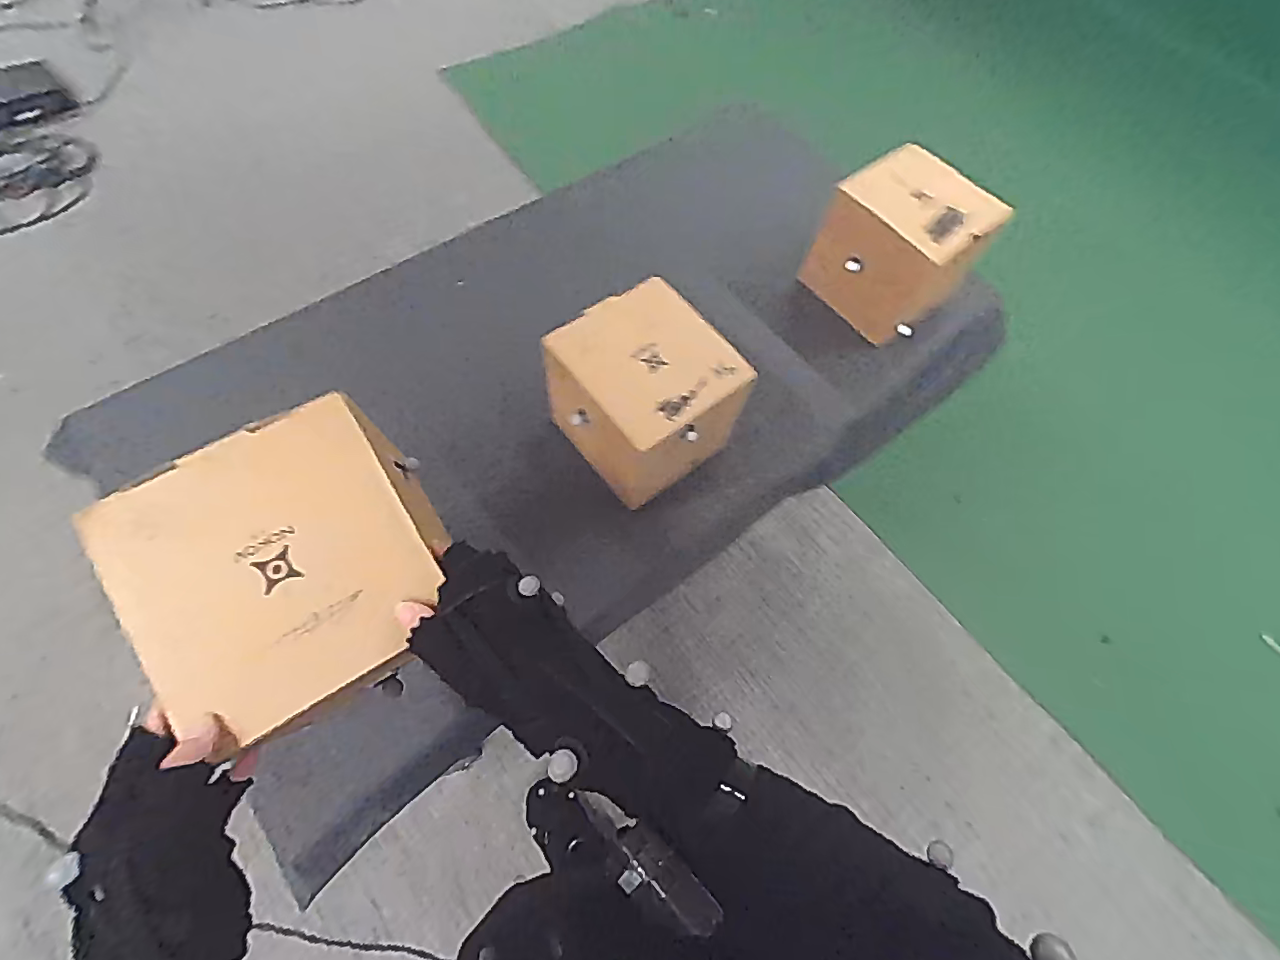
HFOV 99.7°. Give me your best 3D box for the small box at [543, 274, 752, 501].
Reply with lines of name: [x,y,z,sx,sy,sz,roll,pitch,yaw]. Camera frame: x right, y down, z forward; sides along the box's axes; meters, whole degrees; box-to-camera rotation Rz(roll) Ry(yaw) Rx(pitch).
small box: [0.001,-0.105,0.659,0.168,0.176,0.179,-35,73,-18]

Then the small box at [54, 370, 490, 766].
small box: [-0.226,0.057,0.384,0.168,0.176,0.179,-28,84,-12]

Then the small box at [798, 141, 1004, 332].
small box: [0.369,-0.345,0.796,0.168,0.176,0.179,-35,72,-18]
